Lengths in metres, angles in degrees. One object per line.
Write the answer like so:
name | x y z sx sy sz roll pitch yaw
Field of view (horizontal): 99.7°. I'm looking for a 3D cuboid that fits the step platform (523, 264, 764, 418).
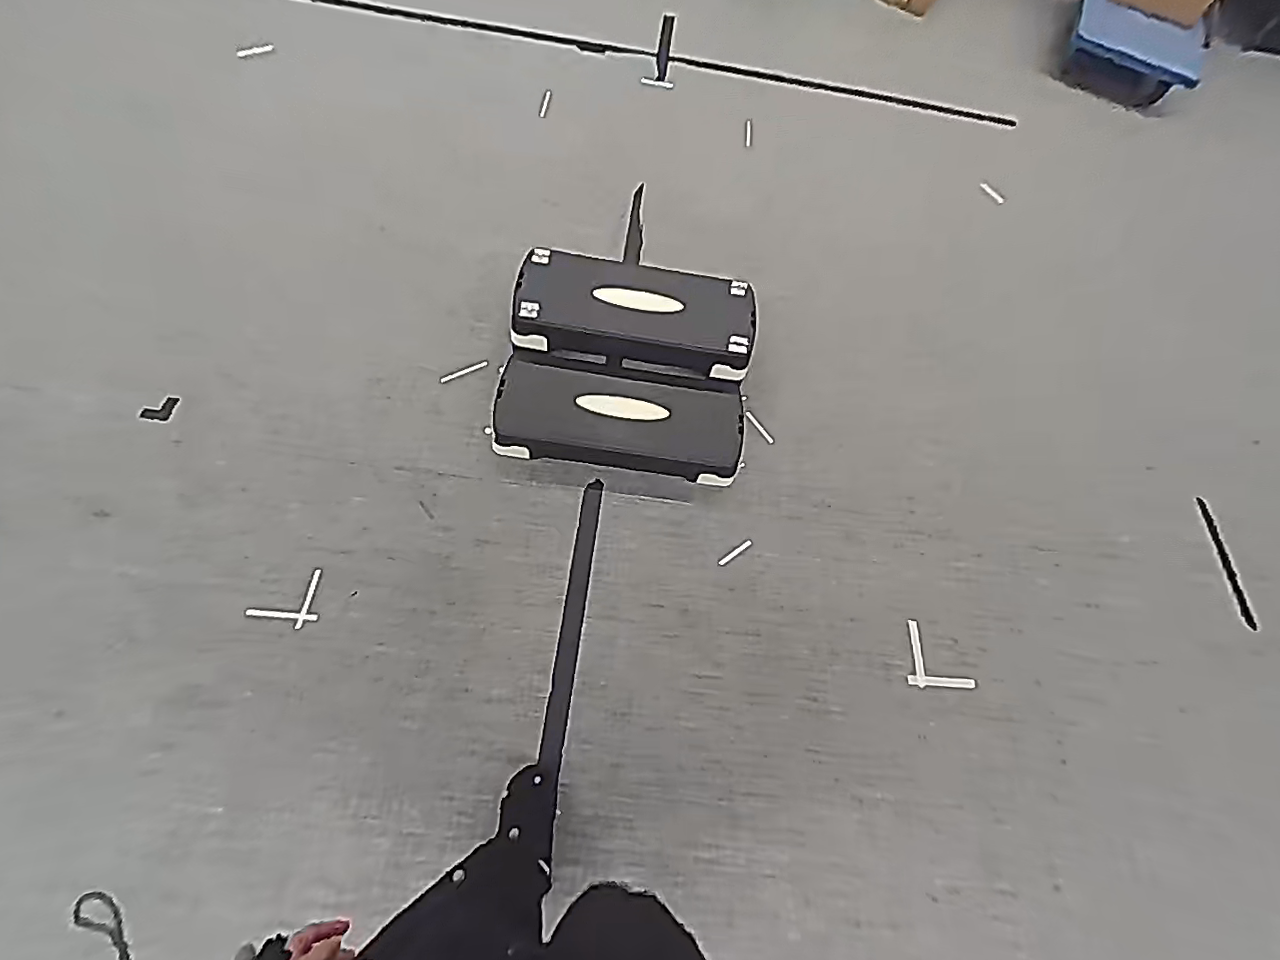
step platform | 0.013 -0.404 1.574 0.684 0.204 0.286 12 63 -2
